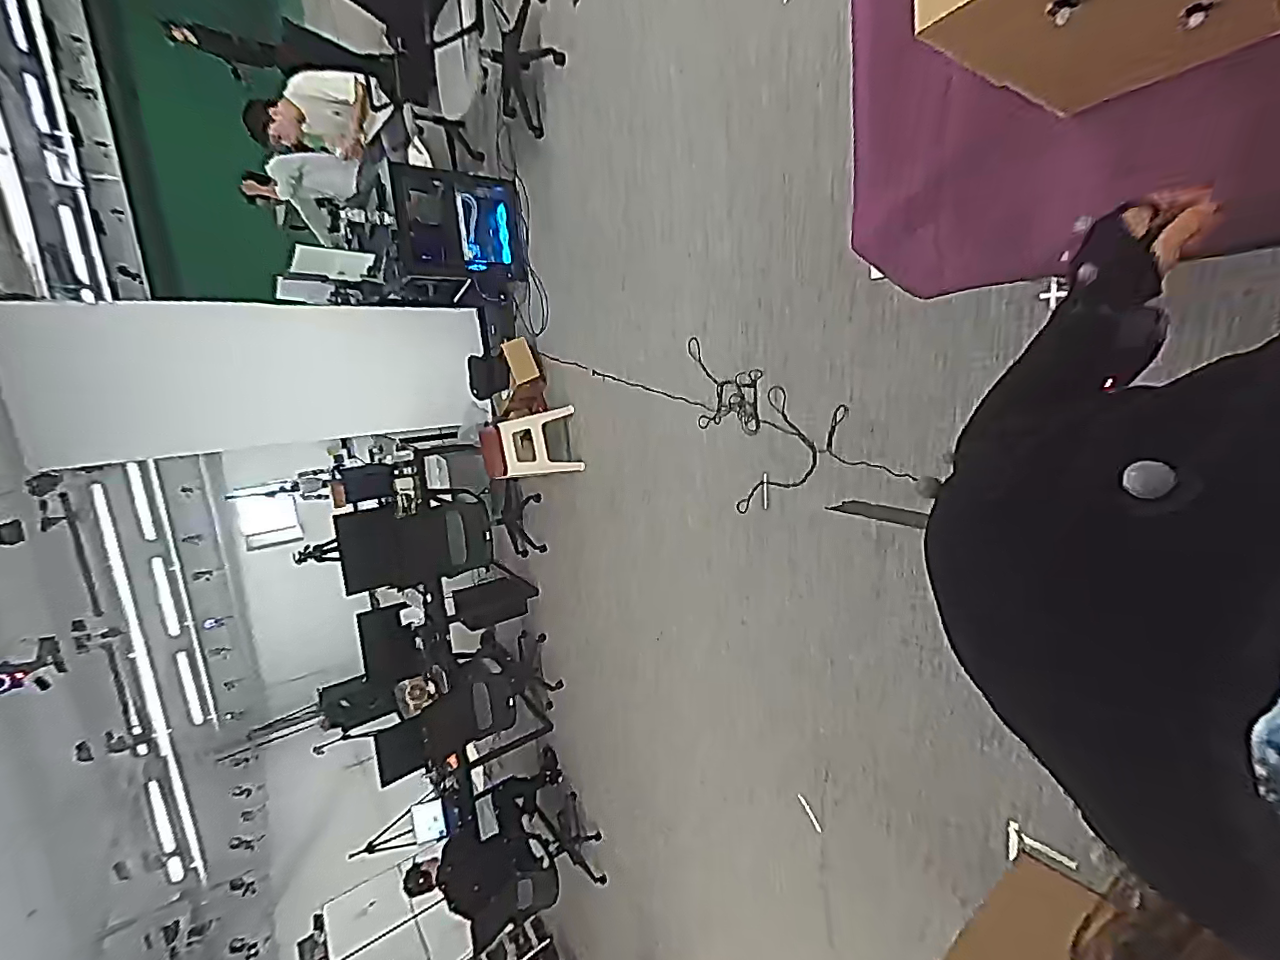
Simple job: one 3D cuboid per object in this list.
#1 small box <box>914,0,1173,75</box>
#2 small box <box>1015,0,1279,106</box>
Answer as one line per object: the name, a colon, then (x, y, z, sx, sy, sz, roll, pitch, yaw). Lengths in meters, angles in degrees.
small box: (0.329, -0.448, 0.400, 0.179, 0.176, 0.168, 6, 105, 54)
small box: (0.461, -0.481, 0.494, 0.179, 0.176, 0.168, 6, 105, 54)
